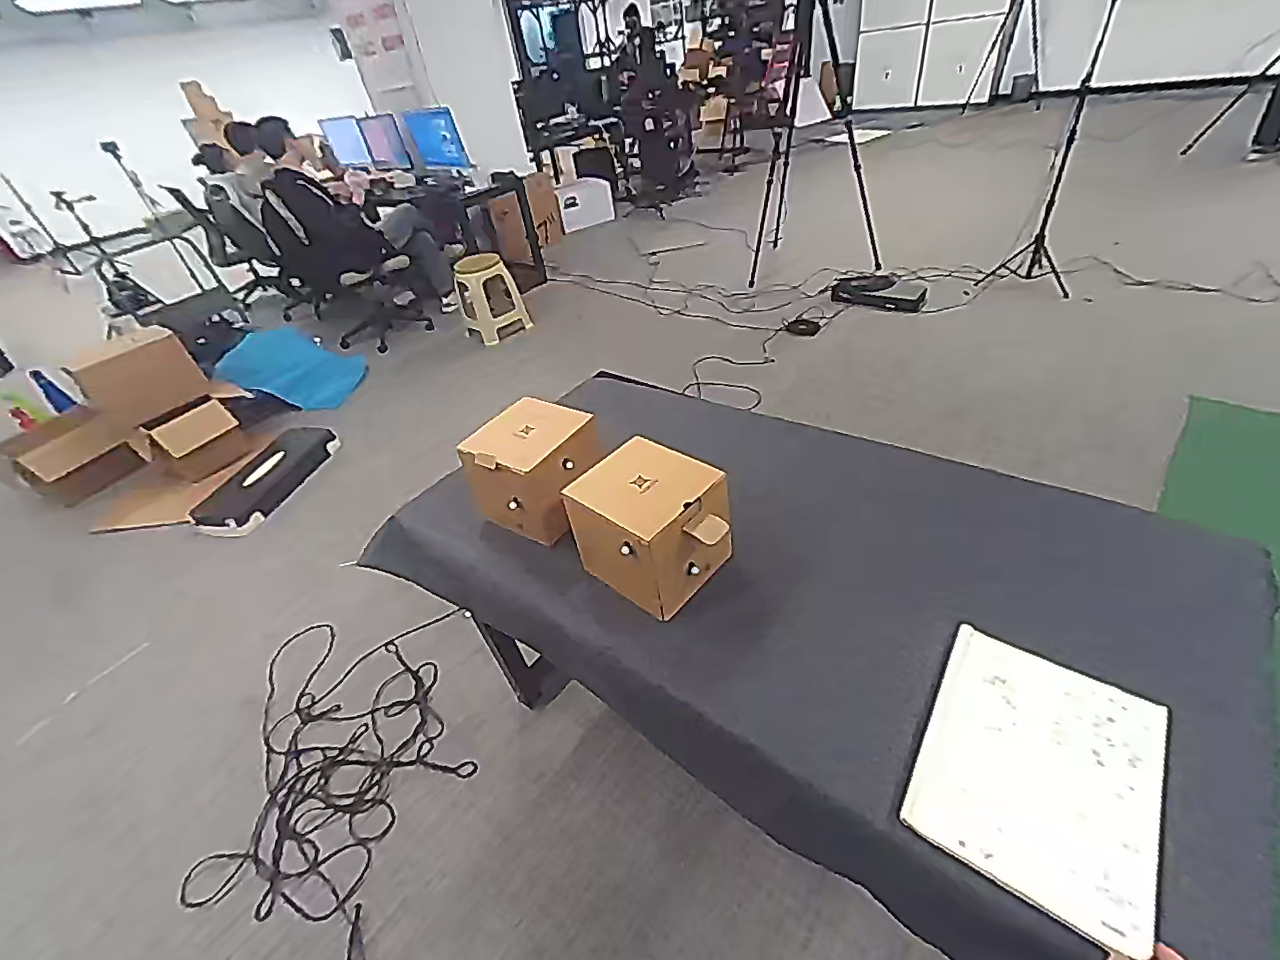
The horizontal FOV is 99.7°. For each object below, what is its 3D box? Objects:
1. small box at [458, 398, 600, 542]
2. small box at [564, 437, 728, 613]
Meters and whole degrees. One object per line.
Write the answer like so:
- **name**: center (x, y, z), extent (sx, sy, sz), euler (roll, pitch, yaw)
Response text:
- **small box**: center (-0.180, -0.019, 0.957), extent (0.168, 0.176, 0.179), euler (18, 46, 29)
- **small box**: center (0.015, 0.066, 0.809), extent (0.179, 0.176, 0.168), euler (26, 51, 36)
